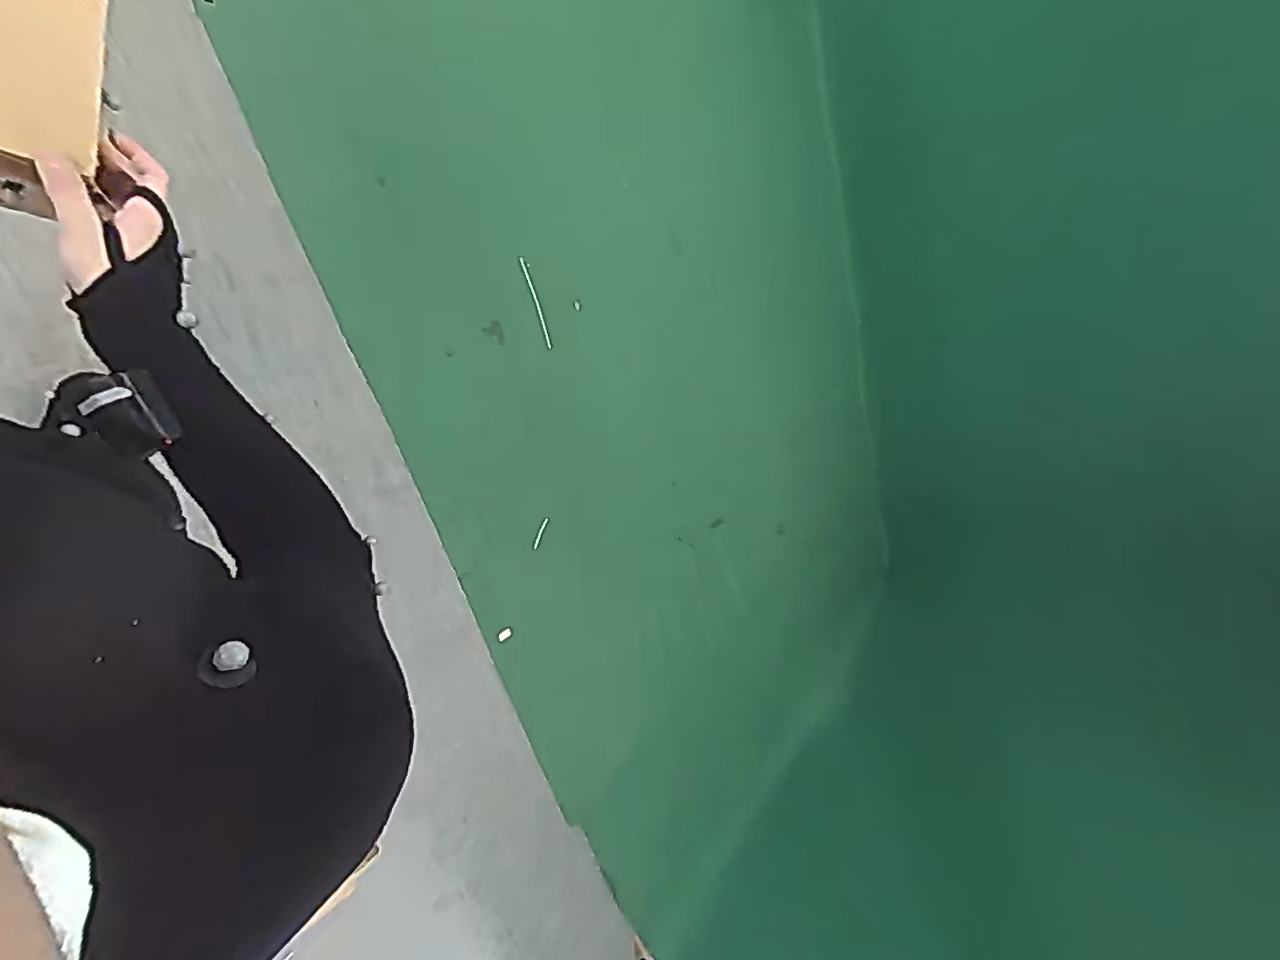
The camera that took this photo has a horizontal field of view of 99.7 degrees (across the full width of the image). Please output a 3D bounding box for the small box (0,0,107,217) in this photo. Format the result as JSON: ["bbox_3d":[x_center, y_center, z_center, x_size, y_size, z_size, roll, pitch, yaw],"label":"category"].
[{"bbox_3d":[-0.526,-0.328,0.410,0.168,0.176,0.179,3,93,-47],"label":"small box"}]
